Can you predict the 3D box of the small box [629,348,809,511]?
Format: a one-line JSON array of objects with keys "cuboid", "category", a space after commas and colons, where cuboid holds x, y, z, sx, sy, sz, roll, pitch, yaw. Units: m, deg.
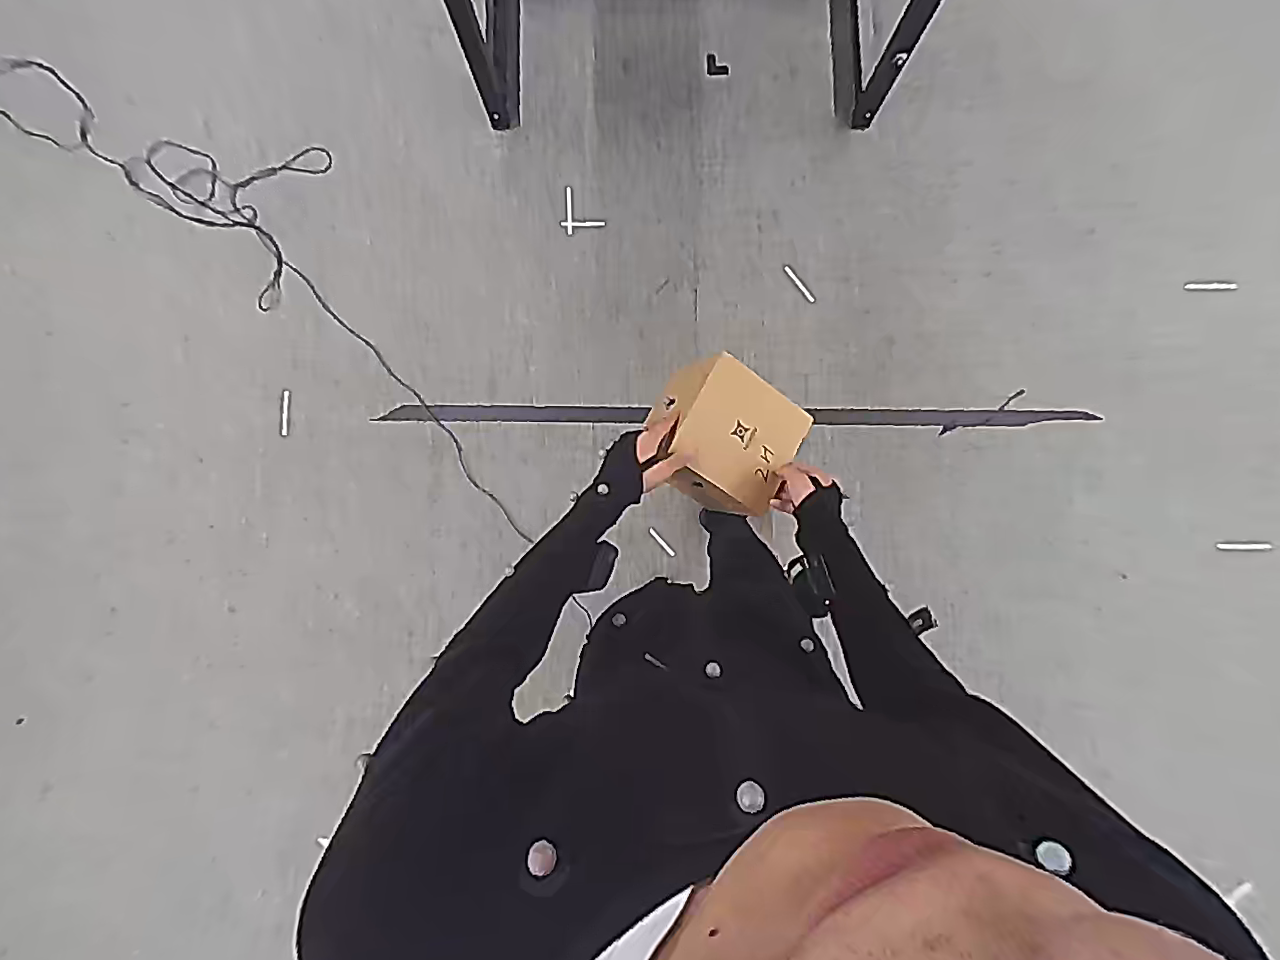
[{"cuboid": [0.109, -0.067, 0.813, 0.179, 0.176, 0.168, 32, 80, -18], "category": "small box"}]
